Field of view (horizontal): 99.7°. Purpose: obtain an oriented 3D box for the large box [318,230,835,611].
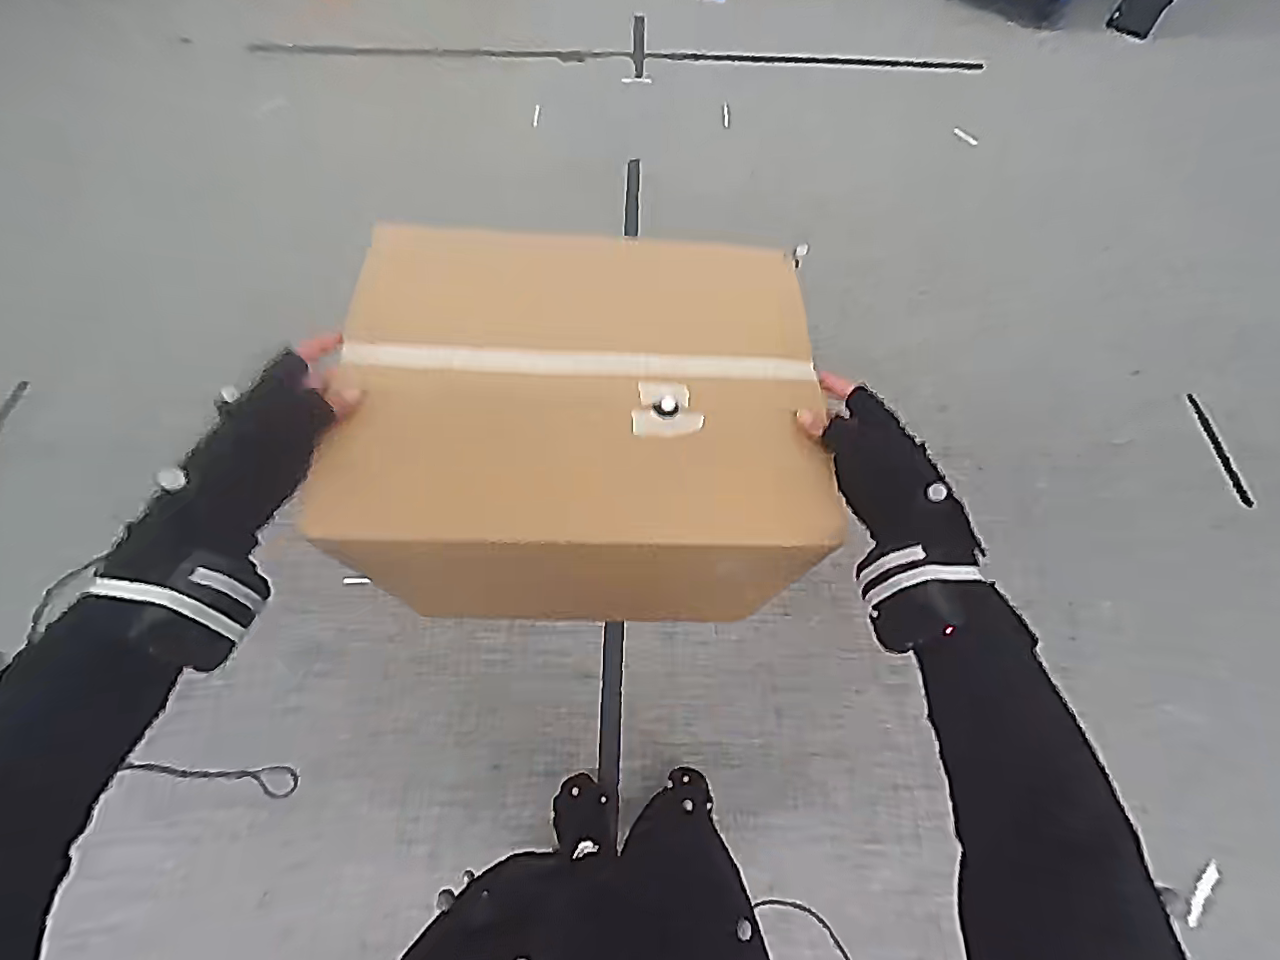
[{"bbox_3d":[-0.057,-0.037,0.607,0.408,0.320,0.320,2,66,-5],"label":"large box"}]
